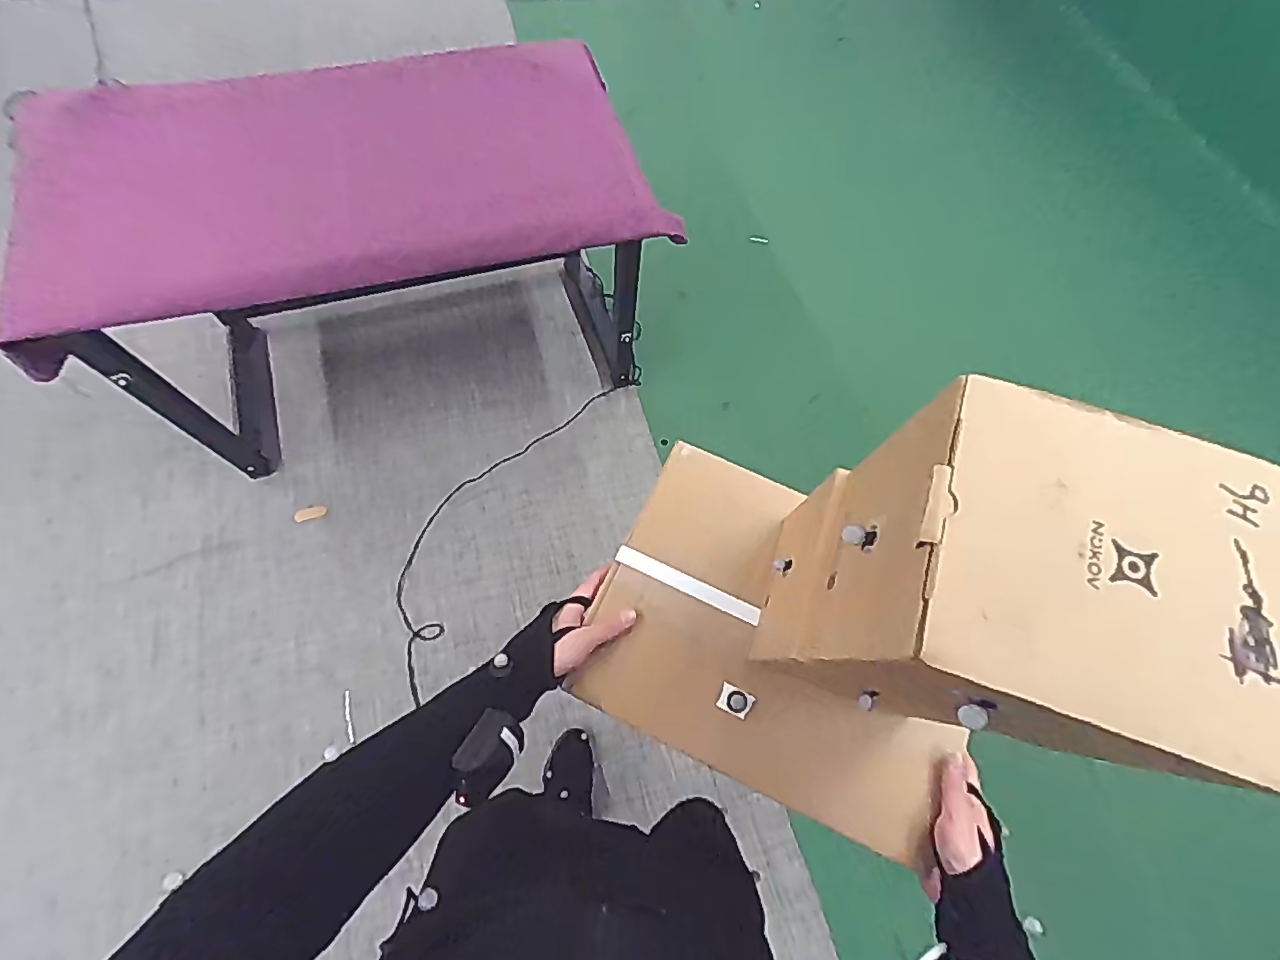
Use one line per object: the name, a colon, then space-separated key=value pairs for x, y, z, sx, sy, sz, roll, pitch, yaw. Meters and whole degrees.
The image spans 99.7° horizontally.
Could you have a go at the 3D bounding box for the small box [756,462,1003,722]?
small box: x=0.222 y=0.108 z=0.505 sx=0.179 sy=0.176 sz=0.168 roll=18 pitch=73 yaw=5
